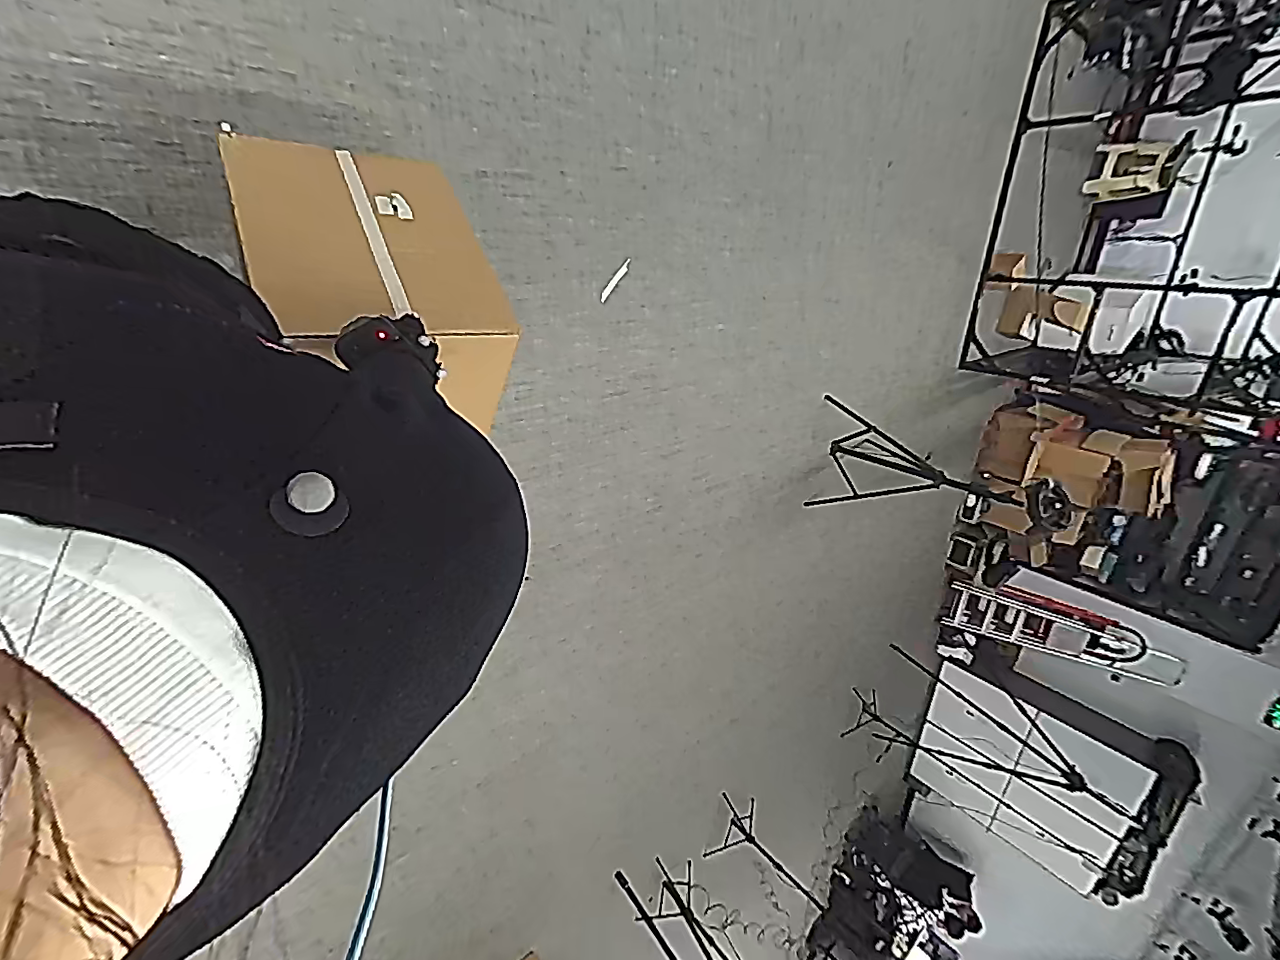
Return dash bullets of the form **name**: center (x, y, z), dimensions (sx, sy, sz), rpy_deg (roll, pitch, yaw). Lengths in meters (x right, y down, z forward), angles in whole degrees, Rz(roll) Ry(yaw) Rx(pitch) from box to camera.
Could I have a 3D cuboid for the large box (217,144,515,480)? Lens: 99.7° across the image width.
- **large box**: center (-0.452, -0.264, 0.893), dimensions (0.320, 0.408, 0.320), rpy_deg (-12, 152, -36)
